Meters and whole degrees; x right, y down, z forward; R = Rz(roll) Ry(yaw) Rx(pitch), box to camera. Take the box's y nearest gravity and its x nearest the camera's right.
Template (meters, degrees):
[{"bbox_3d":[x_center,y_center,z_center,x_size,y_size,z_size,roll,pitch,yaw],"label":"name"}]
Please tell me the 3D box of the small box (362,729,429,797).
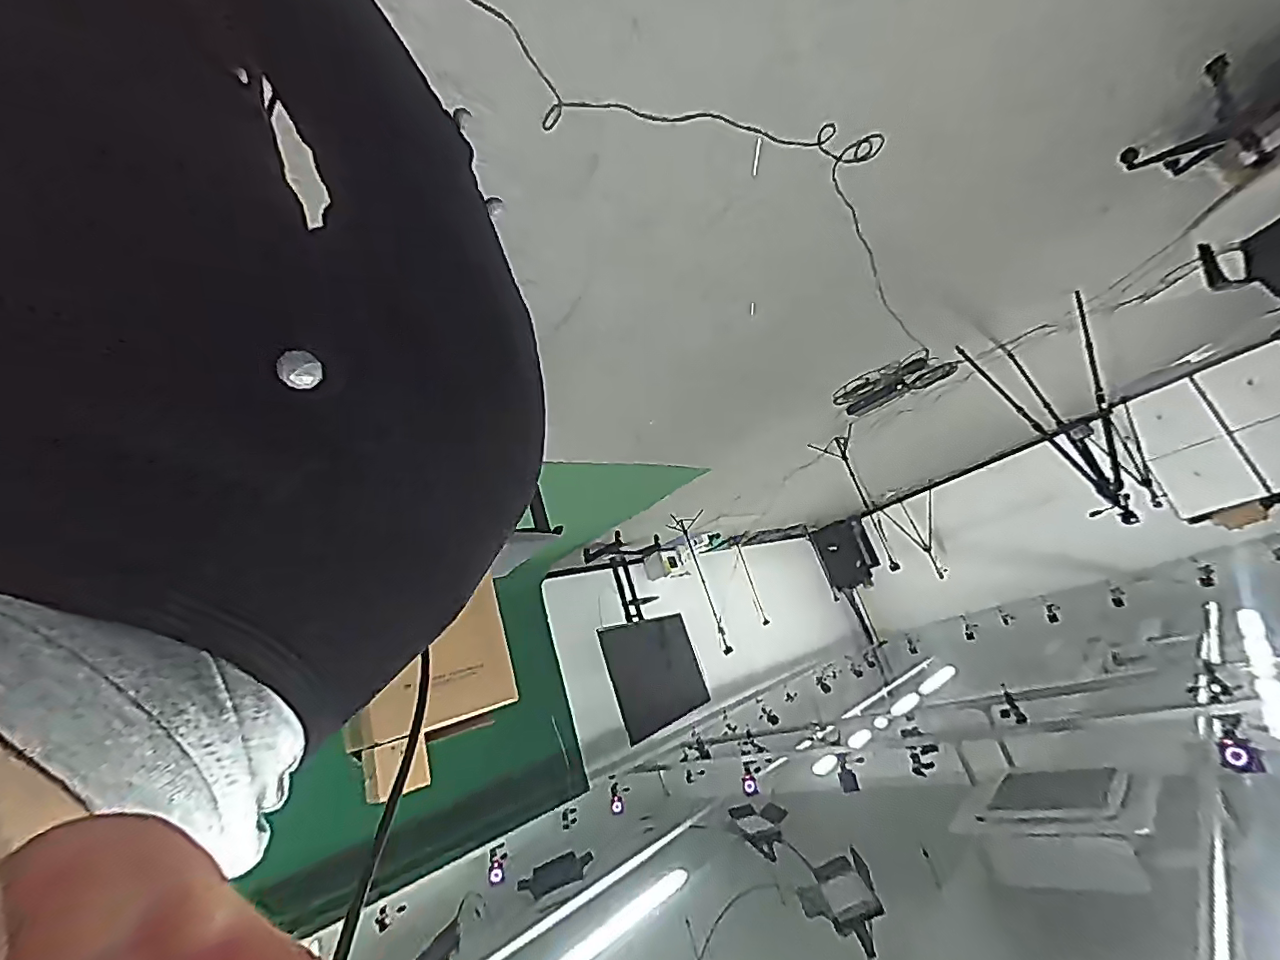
[{"bbox_3d":[-0.855,0.980,1.878,0.168,0.176,0.179,-2,155,-41],"label":"small box"}]
